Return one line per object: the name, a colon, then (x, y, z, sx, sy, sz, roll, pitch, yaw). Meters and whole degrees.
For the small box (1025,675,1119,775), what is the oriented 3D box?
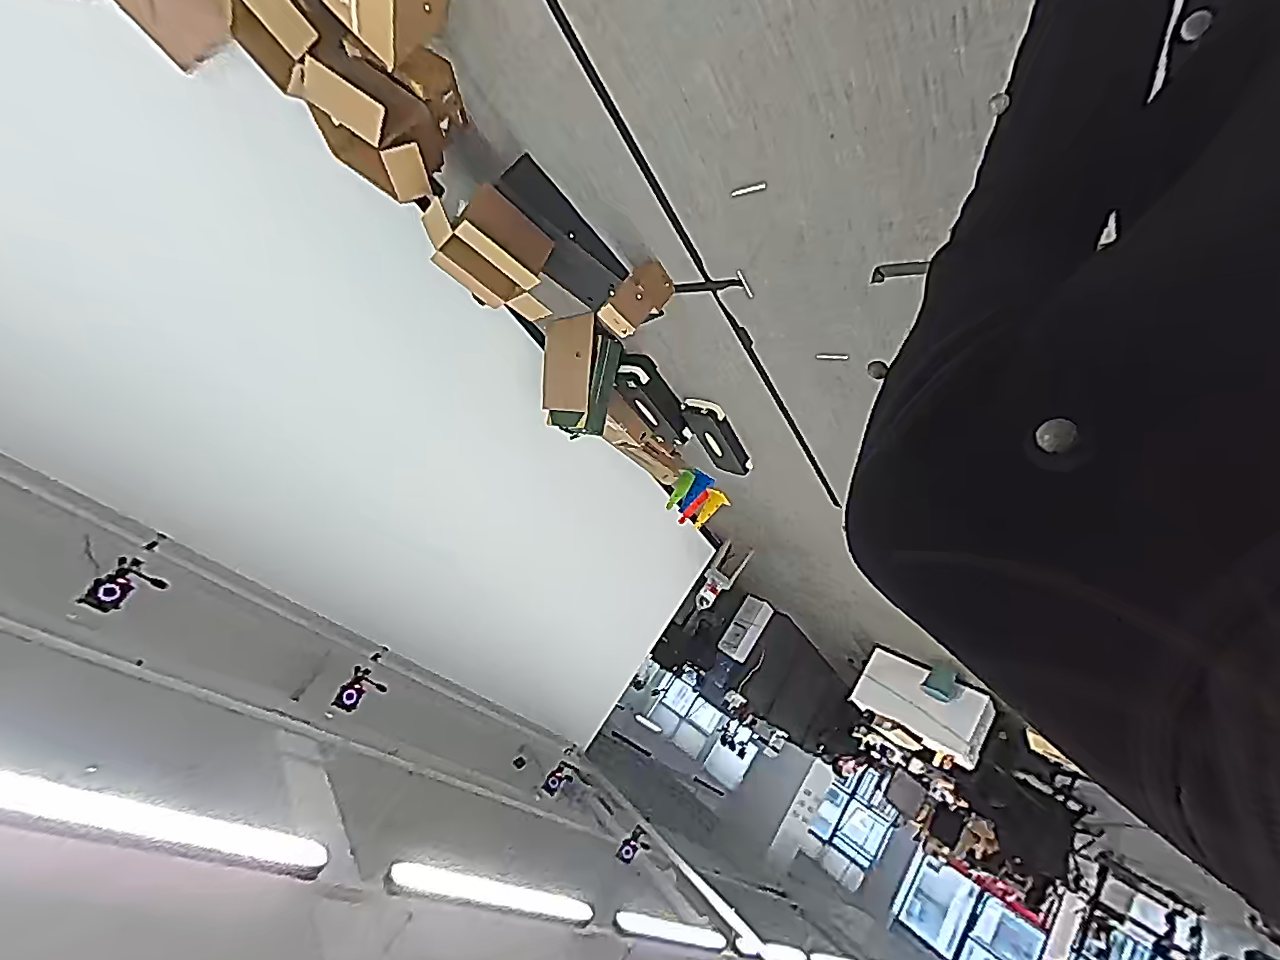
small box: (1.208, 0.680, 1.511, 0.168, 0.176, 0.179, 17, 156, 48)
